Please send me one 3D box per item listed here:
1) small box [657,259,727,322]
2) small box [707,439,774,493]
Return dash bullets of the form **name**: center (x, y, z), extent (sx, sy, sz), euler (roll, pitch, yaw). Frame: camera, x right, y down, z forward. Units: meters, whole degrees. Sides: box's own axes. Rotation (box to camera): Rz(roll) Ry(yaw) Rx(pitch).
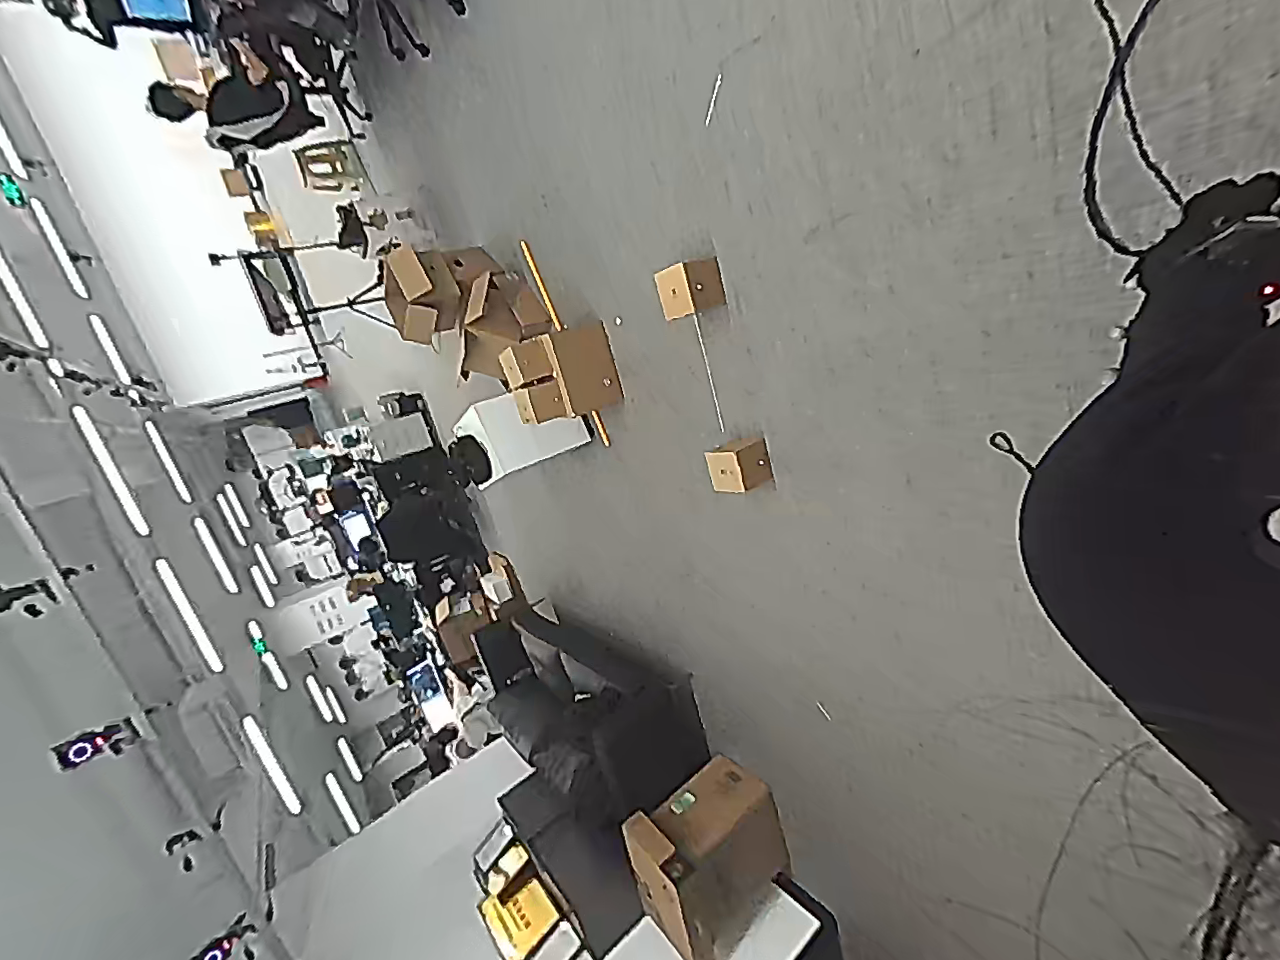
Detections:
- **small box**: center (0.193, -0.695, 1.976), extent (0.168, 0.176, 0.179), euler (3, 115, 55)
- **small box**: center (0.398, -0.058, 2.125), extent (0.179, 0.176, 0.168), euler (3, 115, 56)
